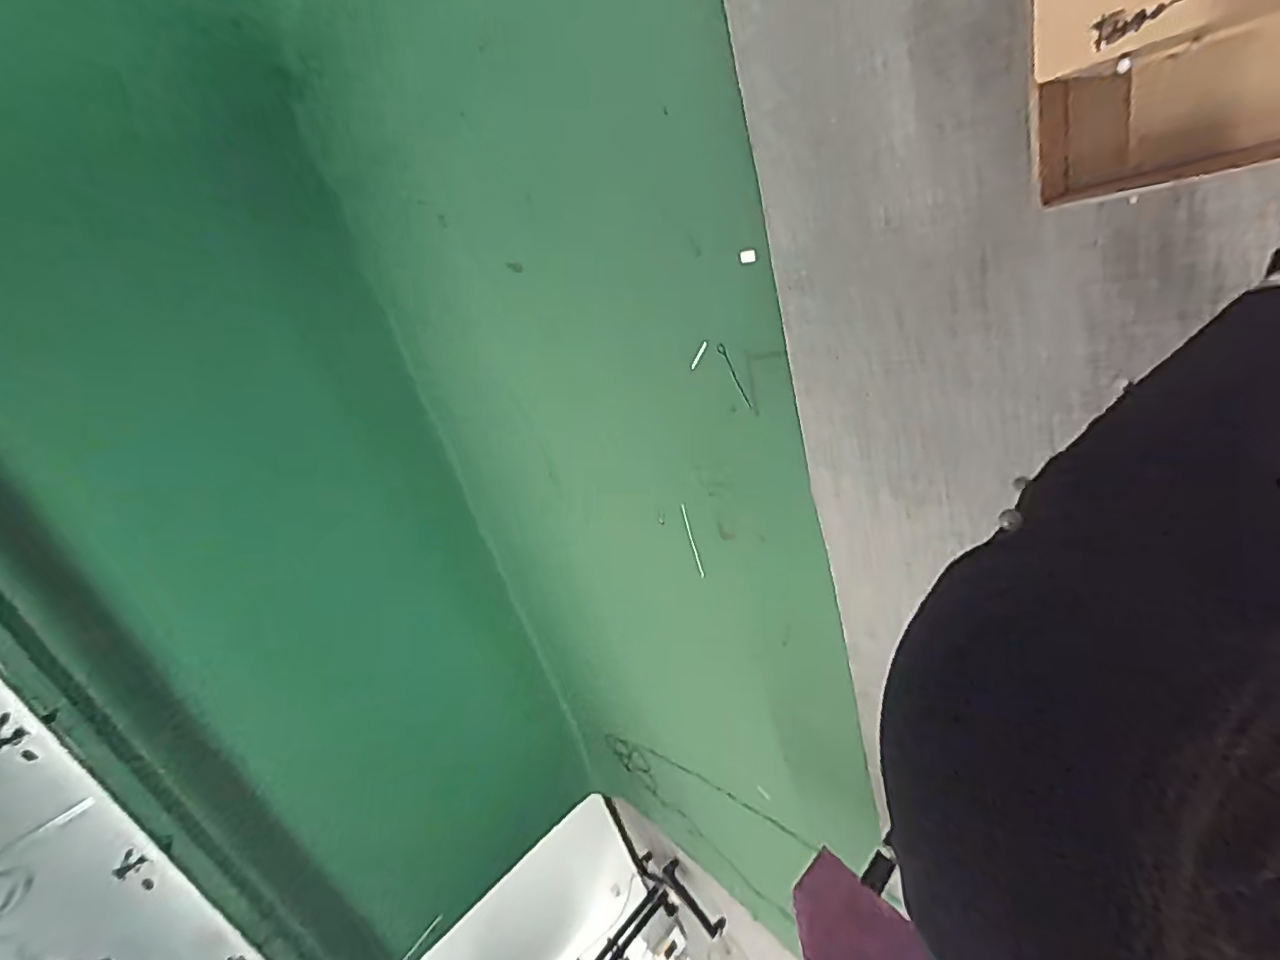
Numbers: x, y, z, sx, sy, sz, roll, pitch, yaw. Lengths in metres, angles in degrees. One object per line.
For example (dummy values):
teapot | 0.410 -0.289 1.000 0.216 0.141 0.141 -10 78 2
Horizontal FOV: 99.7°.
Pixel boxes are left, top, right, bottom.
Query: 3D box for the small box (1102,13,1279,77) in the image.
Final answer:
small box | 0.708 -0.639 0.673 0.168 0.176 0.179 13 127 47

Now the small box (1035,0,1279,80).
small box | 0.481 -0.492 0.486 0.168 0.176 0.179 12 126 48
